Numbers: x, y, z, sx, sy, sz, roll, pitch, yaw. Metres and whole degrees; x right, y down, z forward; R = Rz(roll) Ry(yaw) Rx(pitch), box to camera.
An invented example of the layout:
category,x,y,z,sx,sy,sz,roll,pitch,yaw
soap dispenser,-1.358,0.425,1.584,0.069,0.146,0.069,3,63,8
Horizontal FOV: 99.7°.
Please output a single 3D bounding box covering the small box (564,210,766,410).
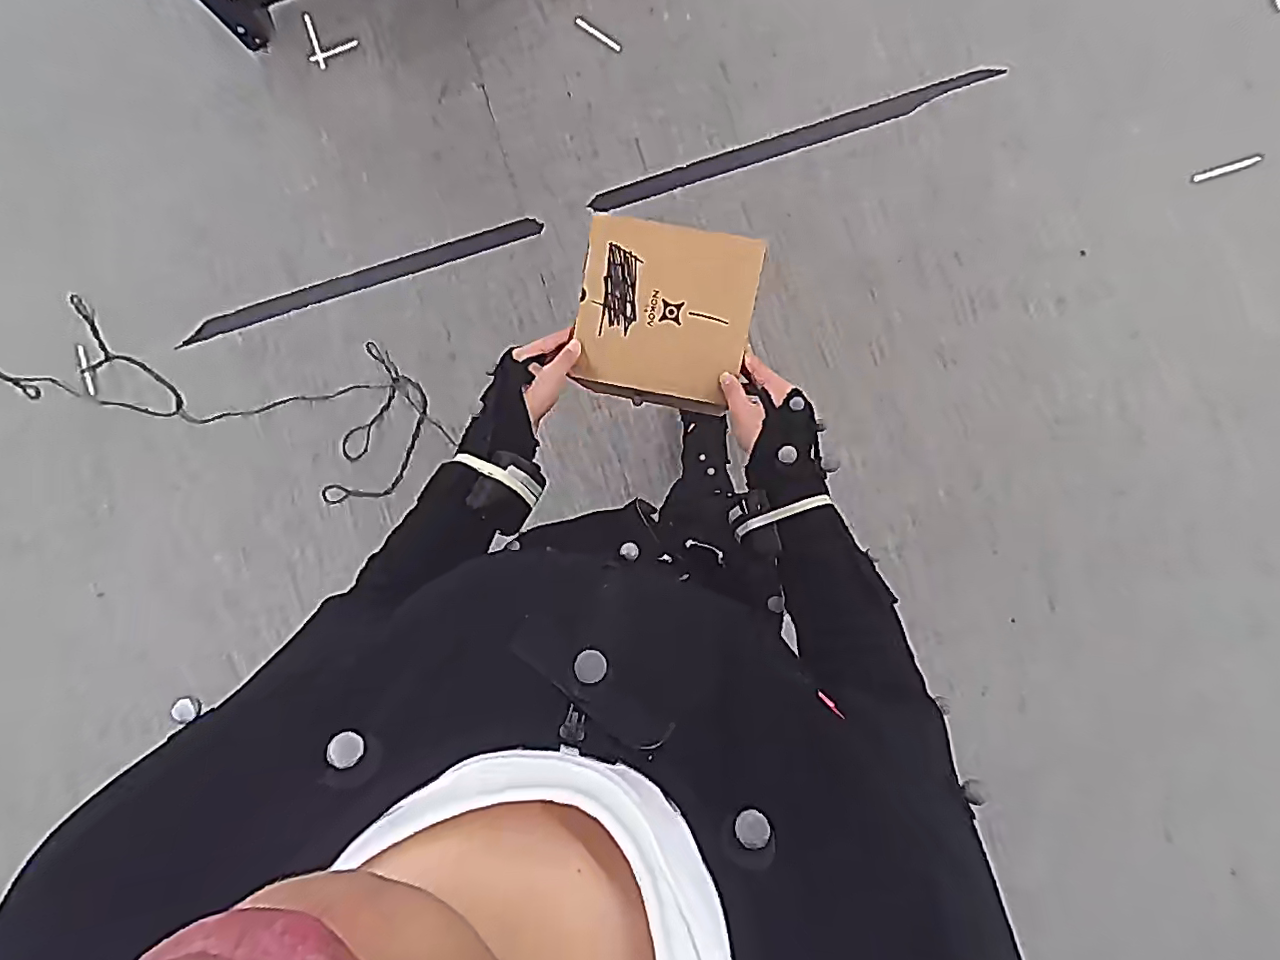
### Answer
category,x,y,z,sx,sy,sz,roll,pitch,yaw
small box,0.028,-0.176,0.610,0.179,0.176,0.168,11,95,3
